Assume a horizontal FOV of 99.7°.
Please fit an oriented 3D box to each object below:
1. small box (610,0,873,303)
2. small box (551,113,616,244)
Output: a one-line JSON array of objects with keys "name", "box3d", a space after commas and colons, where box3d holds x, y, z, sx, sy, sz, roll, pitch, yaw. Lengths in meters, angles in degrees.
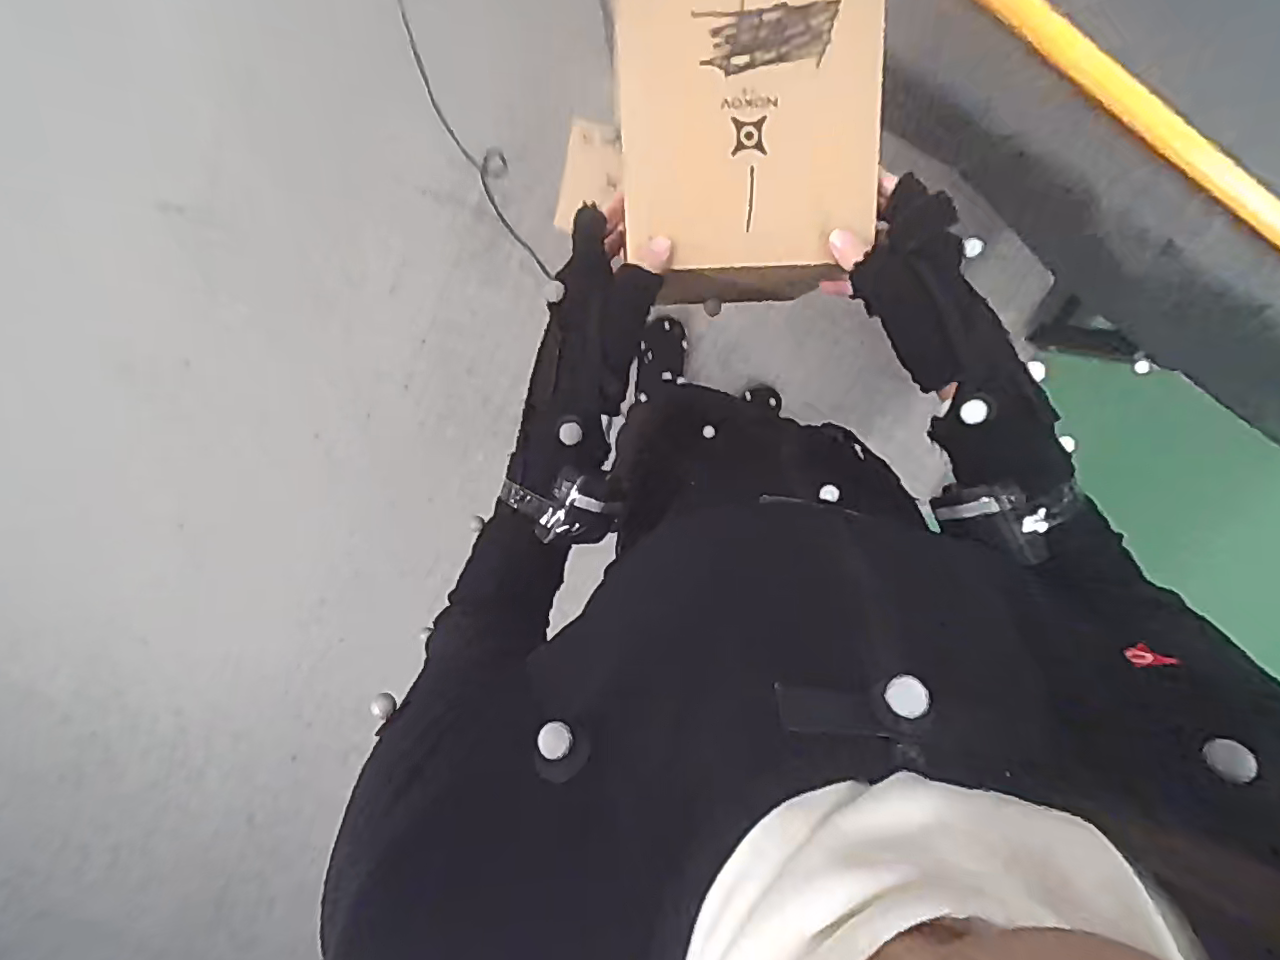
[{"name": "small box", "box3d": [0.062, -0.243, 0.422, 0.168, 0.176, 0.179, -3, 101, -1]}, {"name": "small box", "box3d": [-0.057, -0.538, 1.000, 0.168, 0.176, 0.179, 13, 110, -2]}]
